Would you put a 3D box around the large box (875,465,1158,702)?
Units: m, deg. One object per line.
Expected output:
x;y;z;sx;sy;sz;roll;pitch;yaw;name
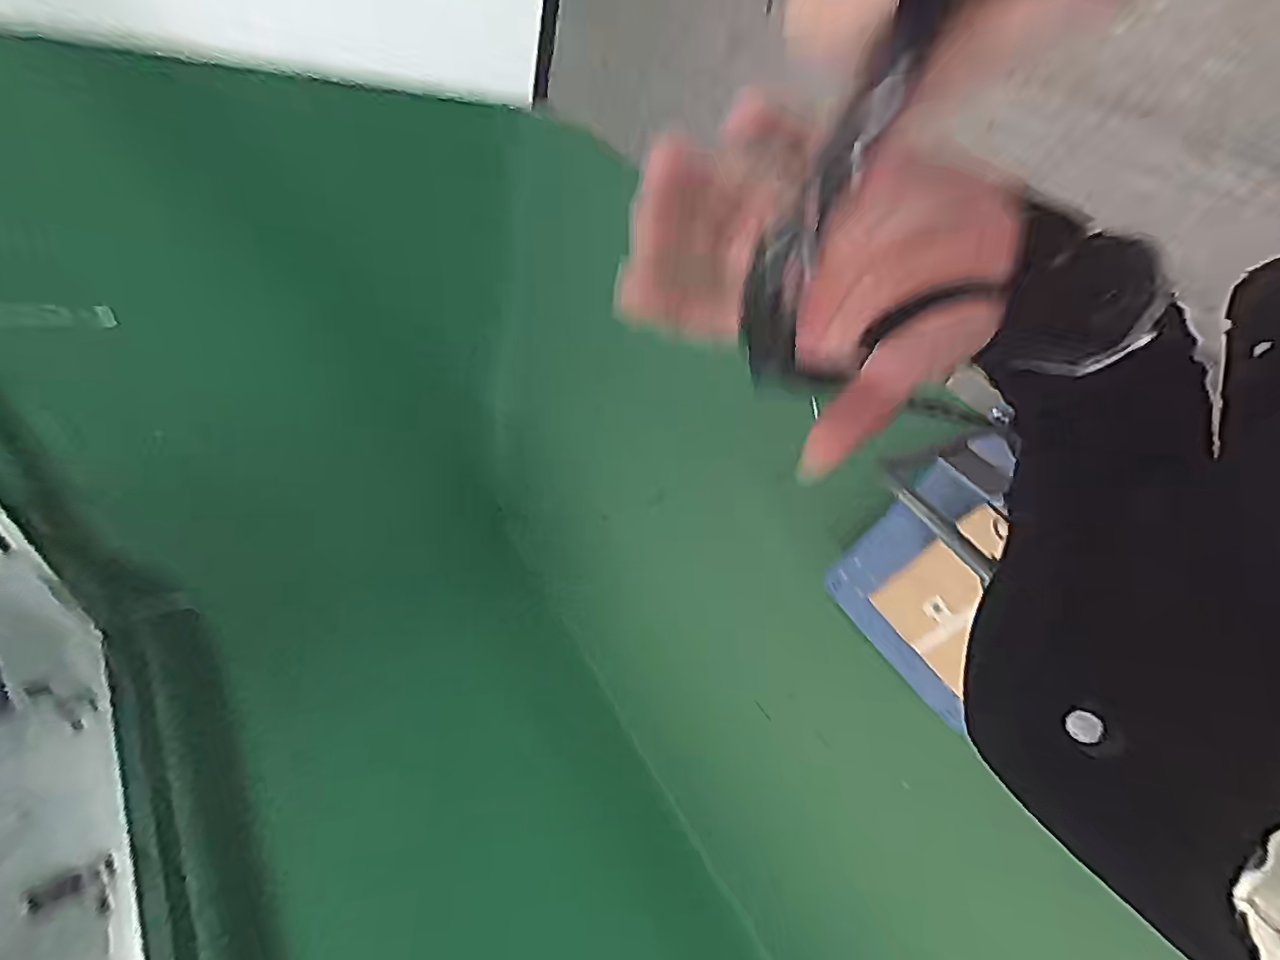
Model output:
0.852;0.235;1.259;0.320;0.320;0.408;51;141;26;large box
